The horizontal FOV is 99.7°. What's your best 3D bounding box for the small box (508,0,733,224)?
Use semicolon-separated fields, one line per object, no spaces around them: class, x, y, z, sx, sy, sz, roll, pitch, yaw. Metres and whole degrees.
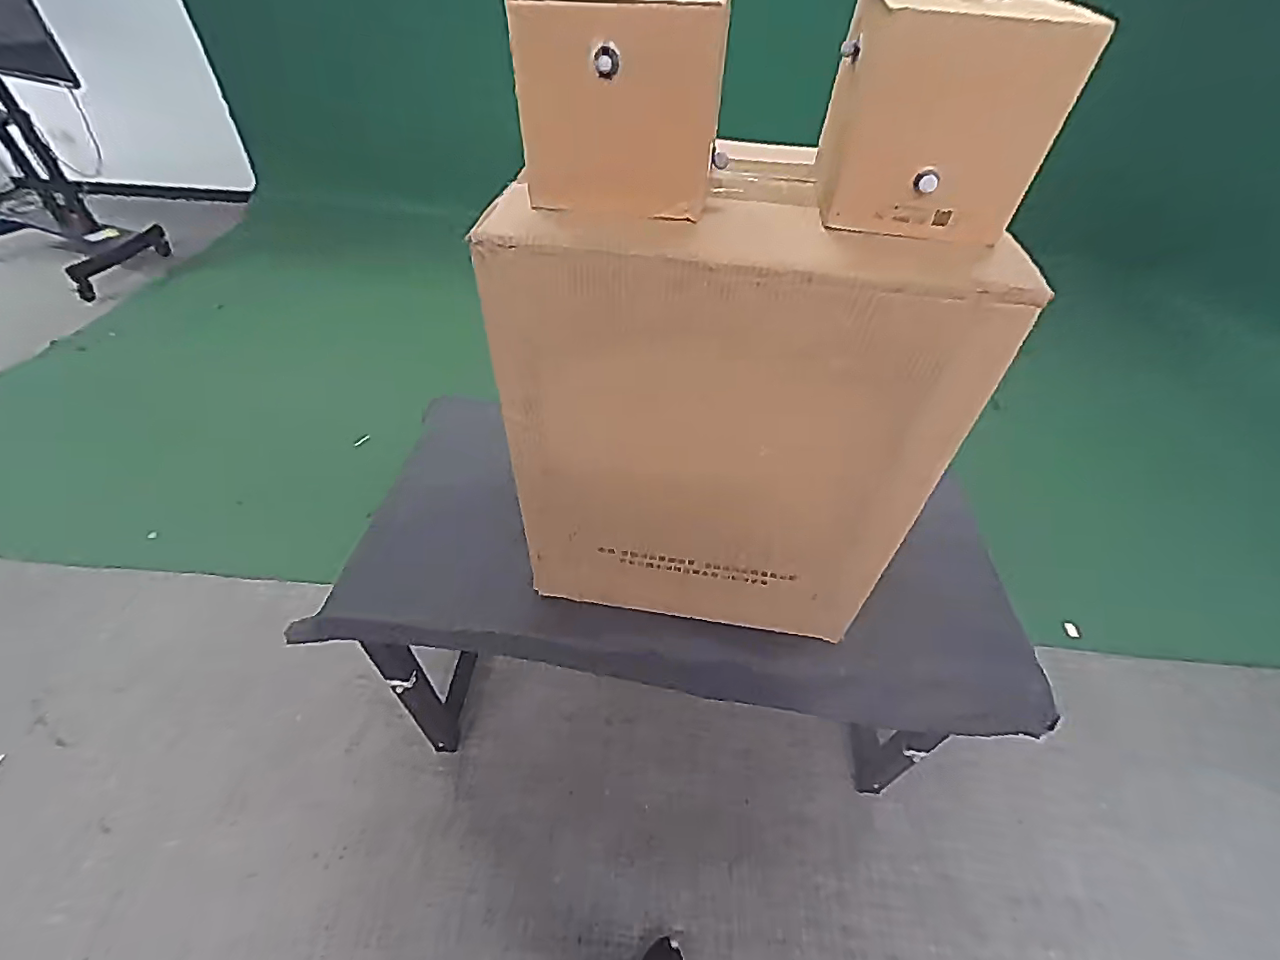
small box;-0.011;-0.373;0.532;0.179;0.176;0.168;9;50;3

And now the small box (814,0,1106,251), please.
small box;0.275;-0.349;0.522;0.168;0.176;0.179;9;49;3
